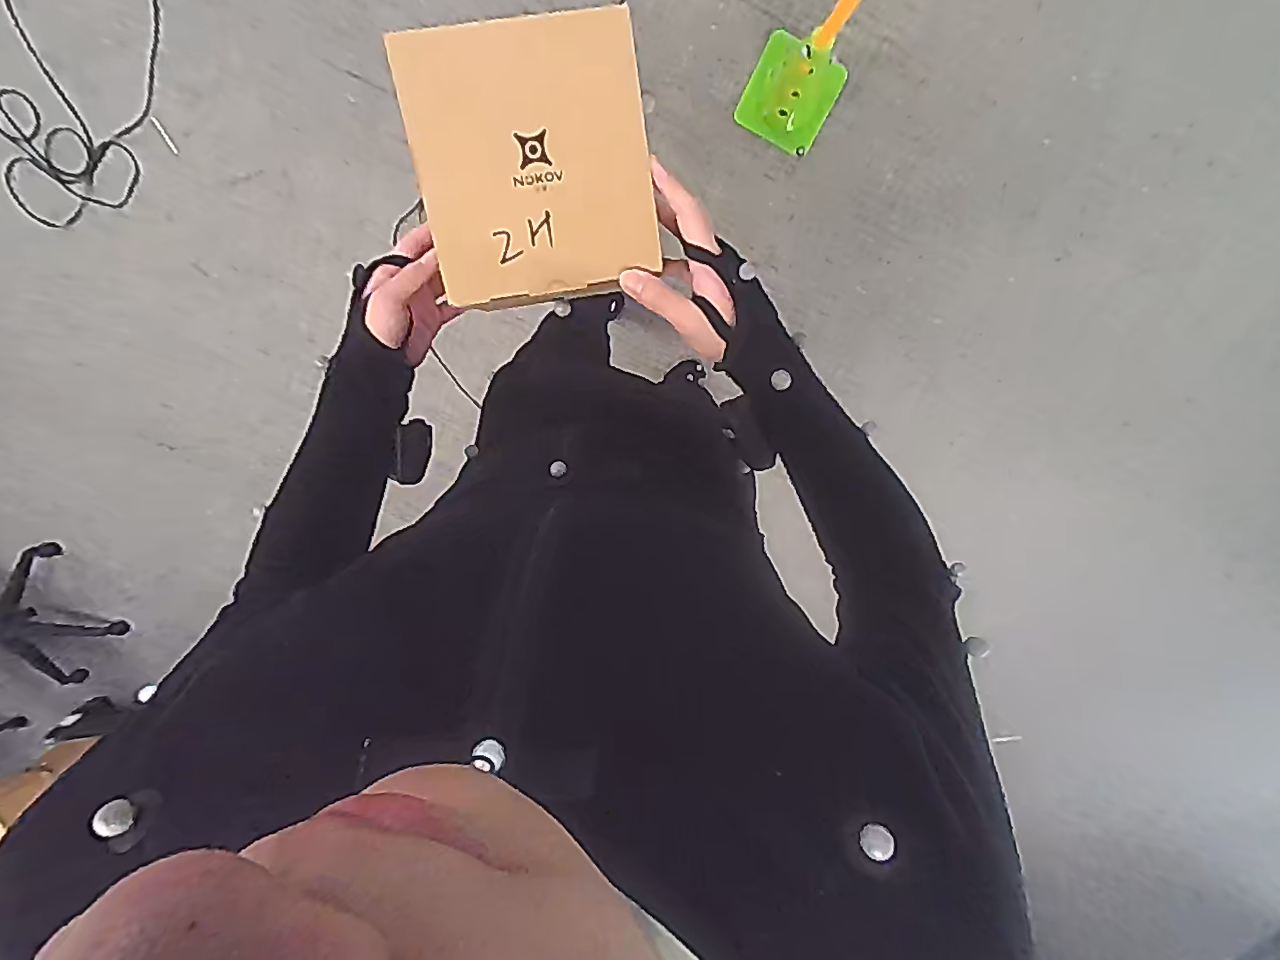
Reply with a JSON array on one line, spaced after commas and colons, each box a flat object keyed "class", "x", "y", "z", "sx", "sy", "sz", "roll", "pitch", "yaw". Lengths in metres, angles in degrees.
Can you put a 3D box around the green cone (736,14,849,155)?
[{"class": "green cone", "x": 0.331, "y": -0.830, "z": 1.082, "sx": 0.202, "sy": 0.368, "sz": 0.200, "roll": 26, "pitch": 111, "yaw": -4}]
